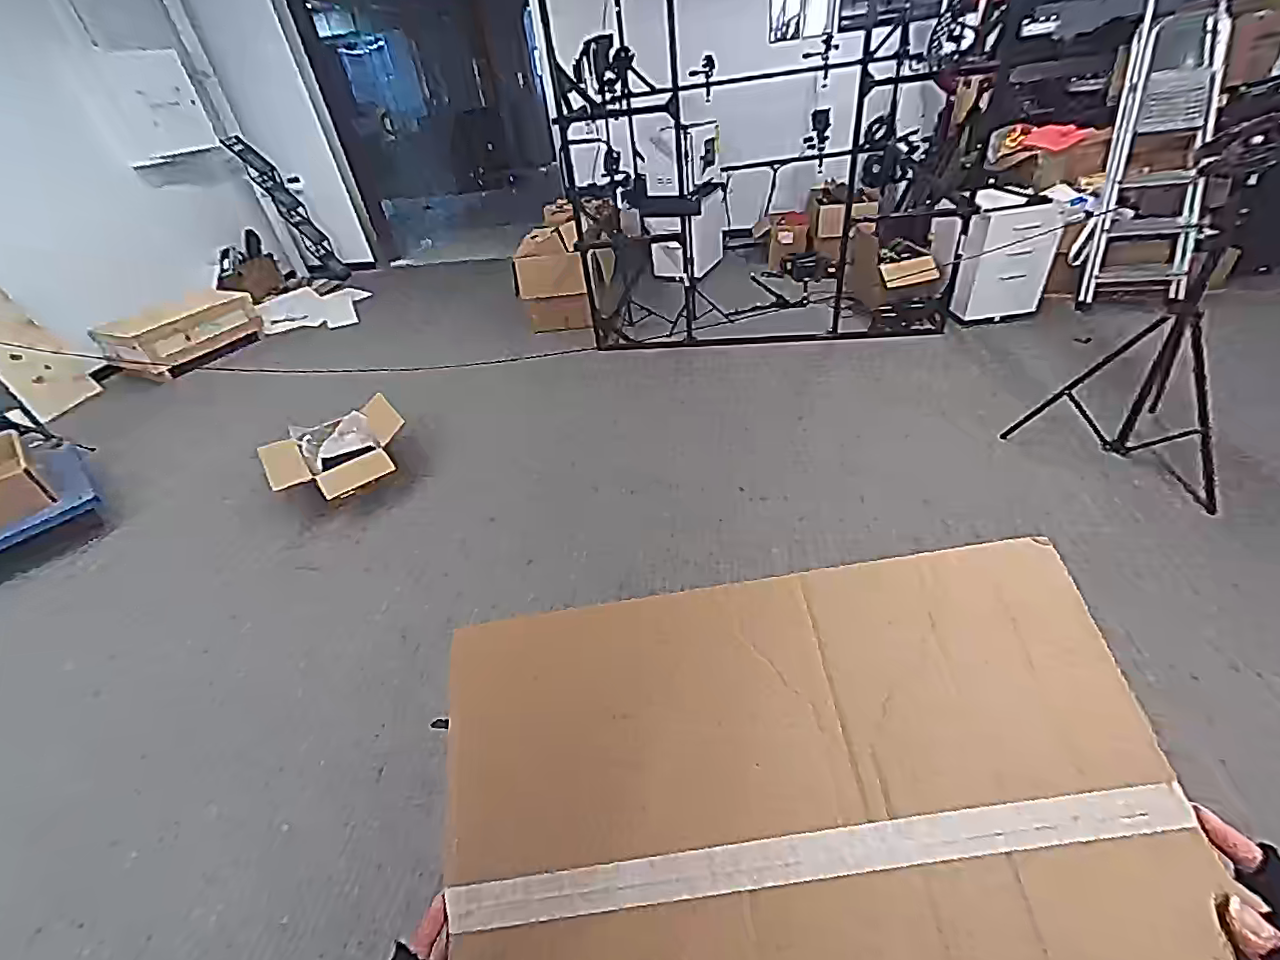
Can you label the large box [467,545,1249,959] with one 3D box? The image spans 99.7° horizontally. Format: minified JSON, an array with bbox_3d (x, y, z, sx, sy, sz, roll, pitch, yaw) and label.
[{"bbox_3d":[0.112,0.280,0.436,0.408,0.320,0.320,-10,63,3],"label":"large box"}]
